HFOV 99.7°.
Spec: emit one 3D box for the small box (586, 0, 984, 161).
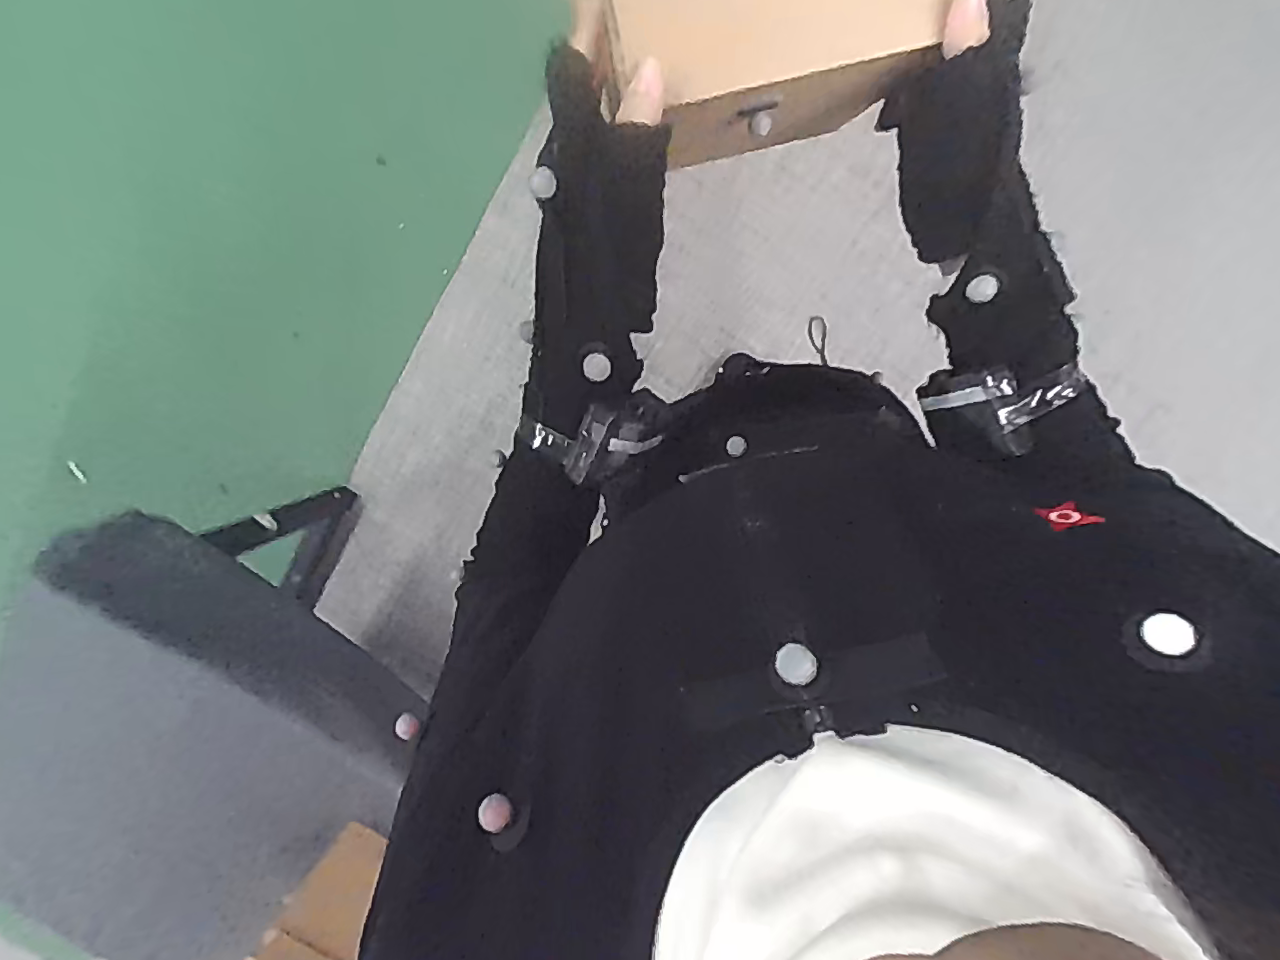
[{"bbox_3d":[0.055,-0.298,0.301,0.179,0.176,0.168,-12,110,-1],"label":"small box"}]
